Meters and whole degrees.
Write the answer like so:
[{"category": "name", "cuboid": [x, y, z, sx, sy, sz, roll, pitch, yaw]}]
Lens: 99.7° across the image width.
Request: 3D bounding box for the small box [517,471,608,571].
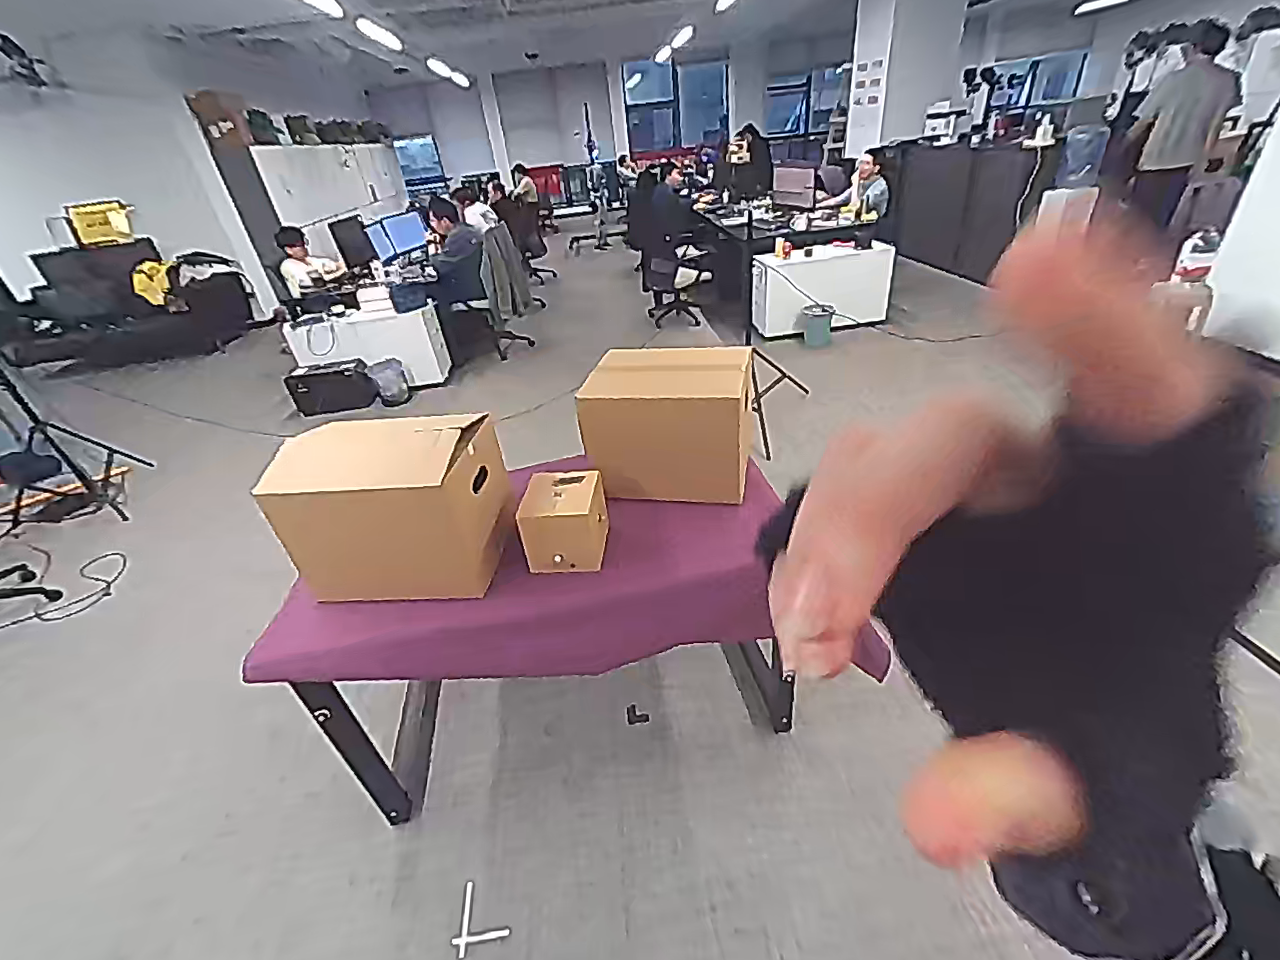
[{"category": "small box", "cuboid": [-0.172, 0.095, 1.269, 0.168, 0.176, 0.179, -3, 33, 7]}]
